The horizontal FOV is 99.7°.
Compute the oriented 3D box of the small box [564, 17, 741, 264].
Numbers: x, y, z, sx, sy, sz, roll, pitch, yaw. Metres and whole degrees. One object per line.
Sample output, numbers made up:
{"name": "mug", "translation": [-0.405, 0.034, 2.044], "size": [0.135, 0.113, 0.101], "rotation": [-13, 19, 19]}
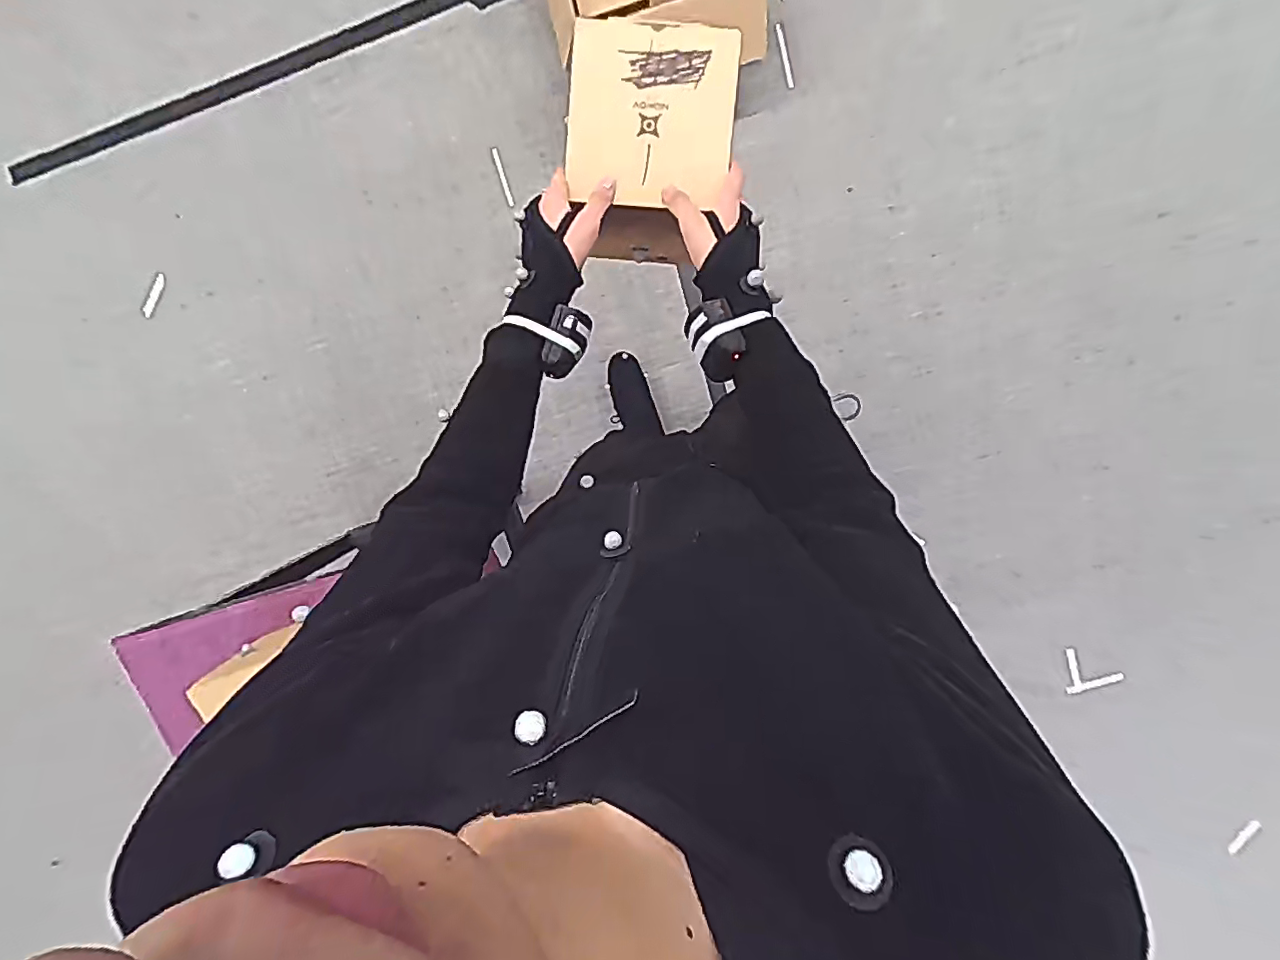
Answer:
{"name": "small box", "translation": [0.012, -0.369, 0.617], "size": [0.168, 0.176, 0.179], "rotation": [5, 94, 1]}

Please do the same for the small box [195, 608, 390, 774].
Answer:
{"name": "small box", "translation": [-0.559, 0.339, 0.895], "size": [0.179, 0.176, 0.168], "rotation": [-20, 101, 6]}
